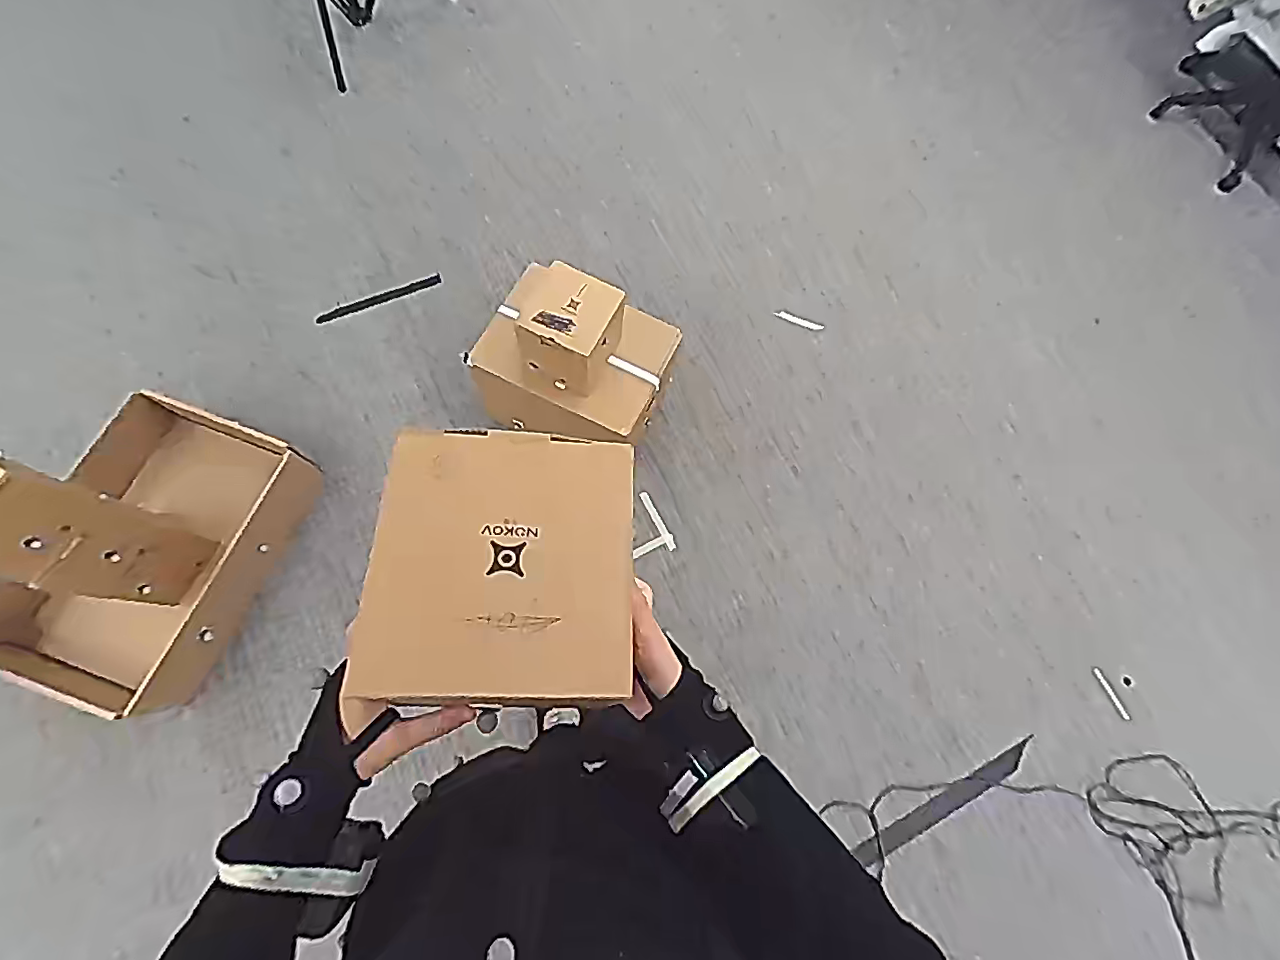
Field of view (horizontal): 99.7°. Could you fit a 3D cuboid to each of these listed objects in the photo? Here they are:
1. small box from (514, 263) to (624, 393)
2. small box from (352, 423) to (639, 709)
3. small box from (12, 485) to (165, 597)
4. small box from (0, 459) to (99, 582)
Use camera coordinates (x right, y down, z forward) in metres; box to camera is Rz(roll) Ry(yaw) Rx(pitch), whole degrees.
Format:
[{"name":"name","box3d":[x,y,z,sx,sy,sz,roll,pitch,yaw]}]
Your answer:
[{"name":"small box","box3d":[-0.146,-0.316,1.156,0.168,0.176,0.179,26,71,2]},{"name":"small box","box3d":[-0.096,0.078,0.422,0.168,0.176,0.179,4,65,-9]},{"name":"small box","box3d":[-1.082,0.113,1.029,0.179,0.176,0.168,25,71,2]},{"name":"small box","box3d":[-1.072,0.053,0.877,0.179,0.176,0.168,24,71,2]}]
